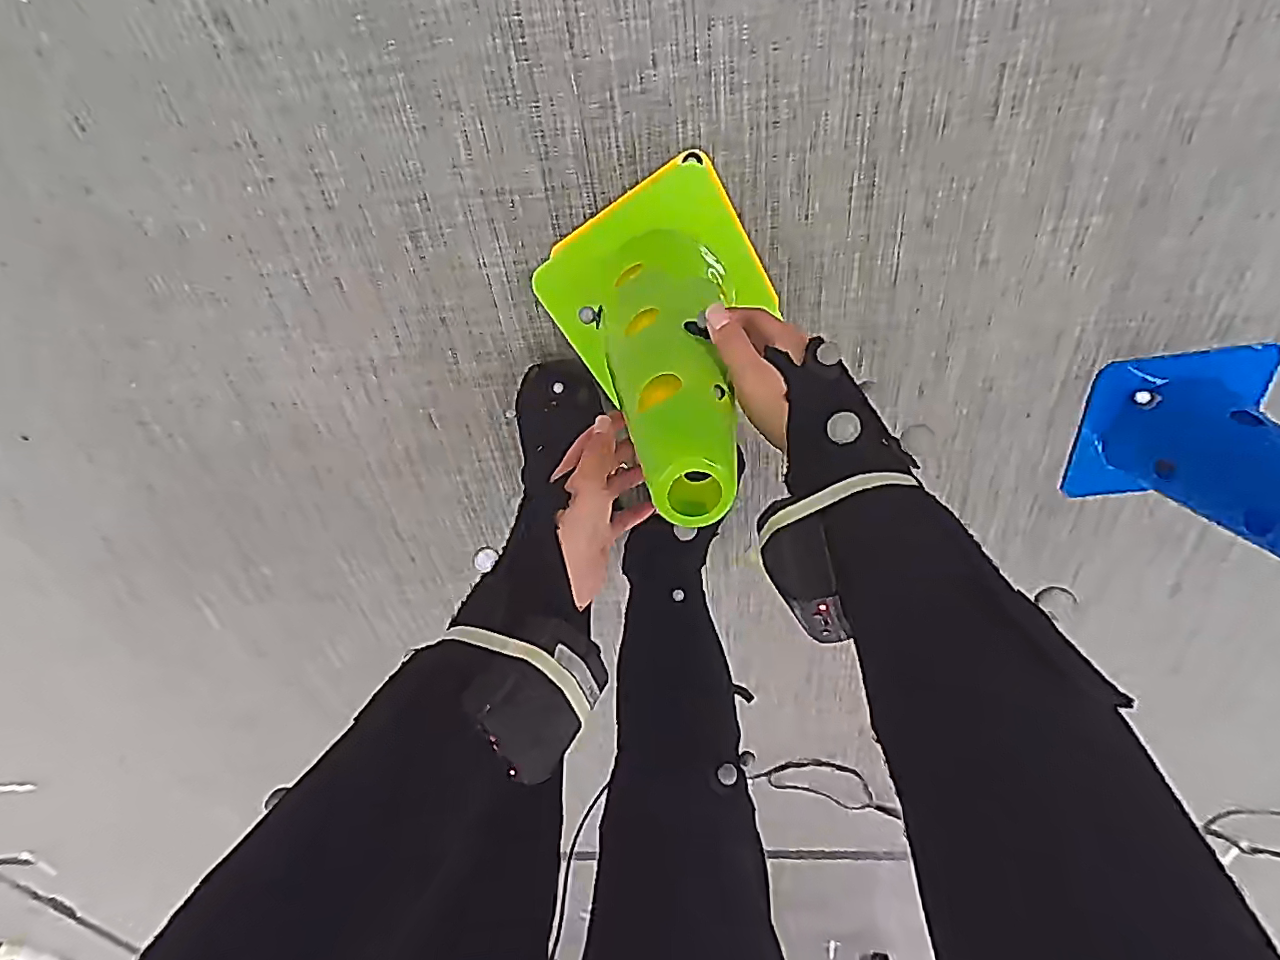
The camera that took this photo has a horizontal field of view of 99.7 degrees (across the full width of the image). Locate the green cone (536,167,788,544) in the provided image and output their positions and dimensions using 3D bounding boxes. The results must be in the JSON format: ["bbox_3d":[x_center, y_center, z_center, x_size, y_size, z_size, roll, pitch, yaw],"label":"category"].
[{"bbox_3d":[0.024,-0.082,0.399,0.202,0.368,0.200,-29,116,17],"label":"green cone"}]
